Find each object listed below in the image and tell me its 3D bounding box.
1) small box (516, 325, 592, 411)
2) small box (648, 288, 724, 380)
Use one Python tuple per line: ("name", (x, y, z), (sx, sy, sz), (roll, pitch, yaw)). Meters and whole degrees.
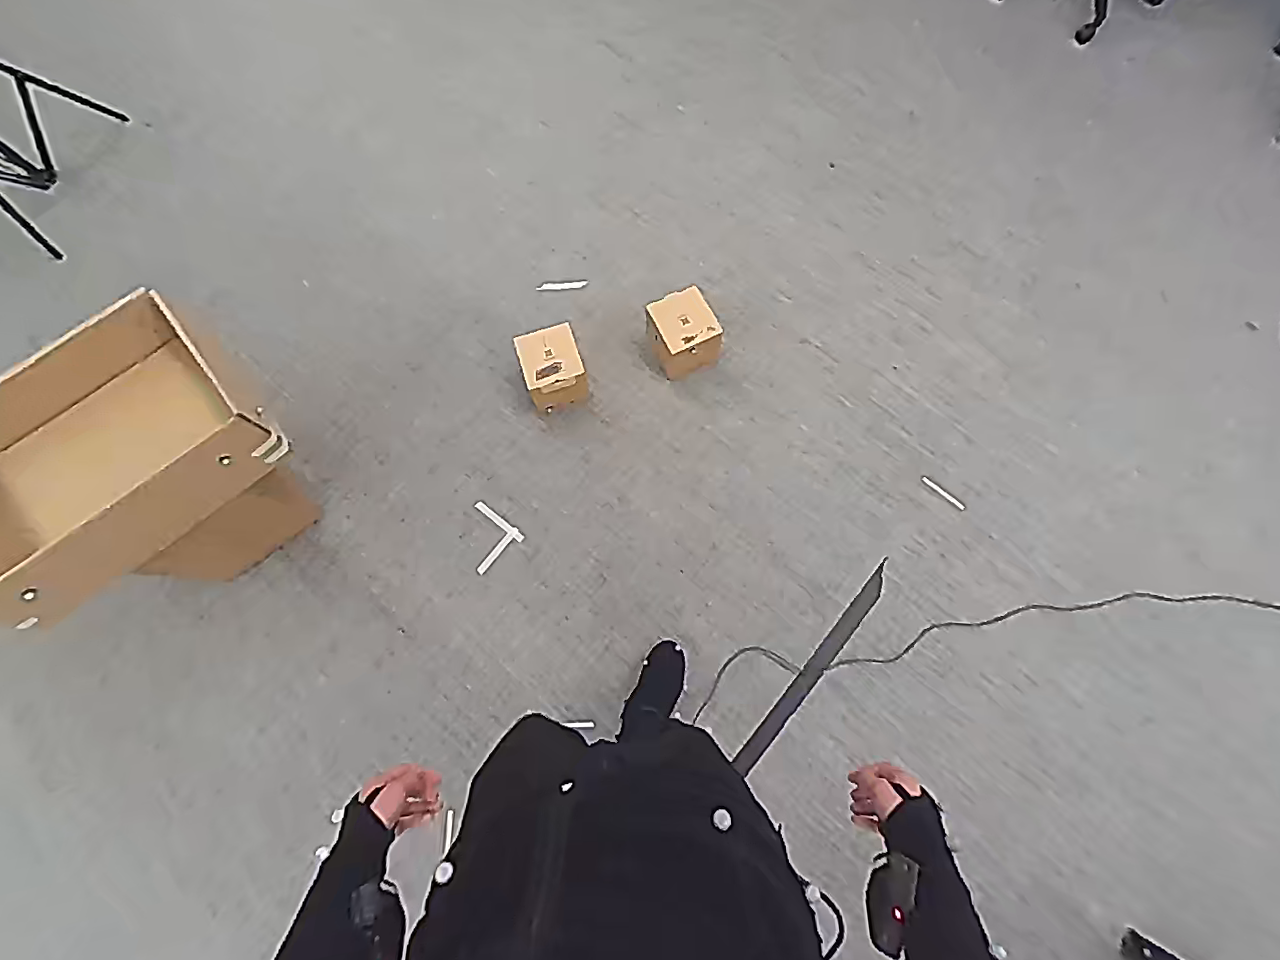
("small box", (-0.247, -0.320, 1.592), (0.168, 0.176, 0.179), (-18, 74, -4))
("small box", (0.132, -0.432, 1.618), (0.168, 0.176, 0.179), (-25, 74, -6))
